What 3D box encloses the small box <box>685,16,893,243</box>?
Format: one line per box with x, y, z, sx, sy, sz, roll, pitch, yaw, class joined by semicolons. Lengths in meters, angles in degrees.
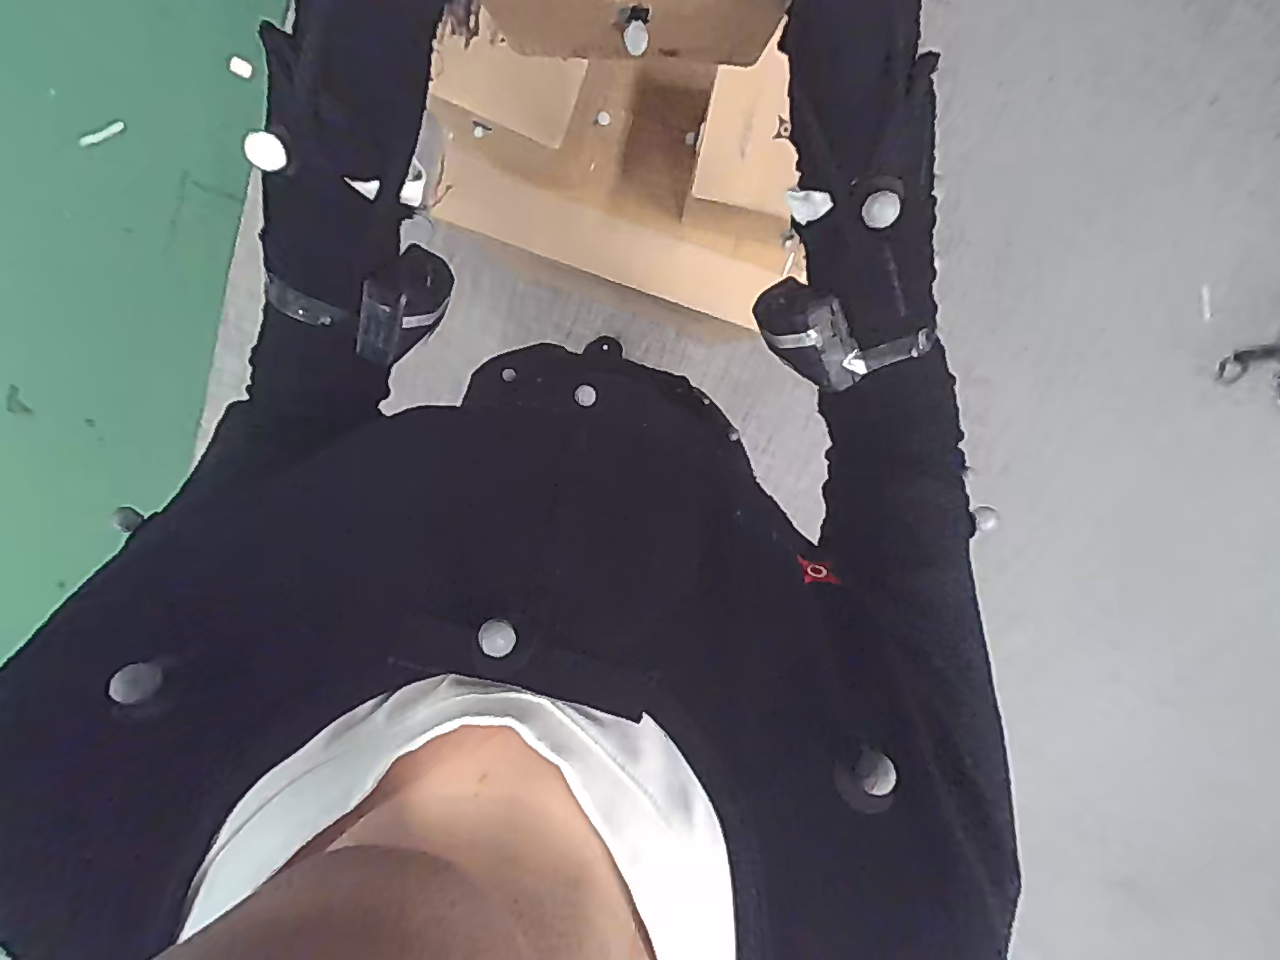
0.157;-0.390;0.638;0.179;0.176;0.168;12;105;-1;small box

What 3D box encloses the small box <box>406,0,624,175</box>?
-0.129;-0.479;0.617;0.179;0.176;0.168;22;106;-5;small box
